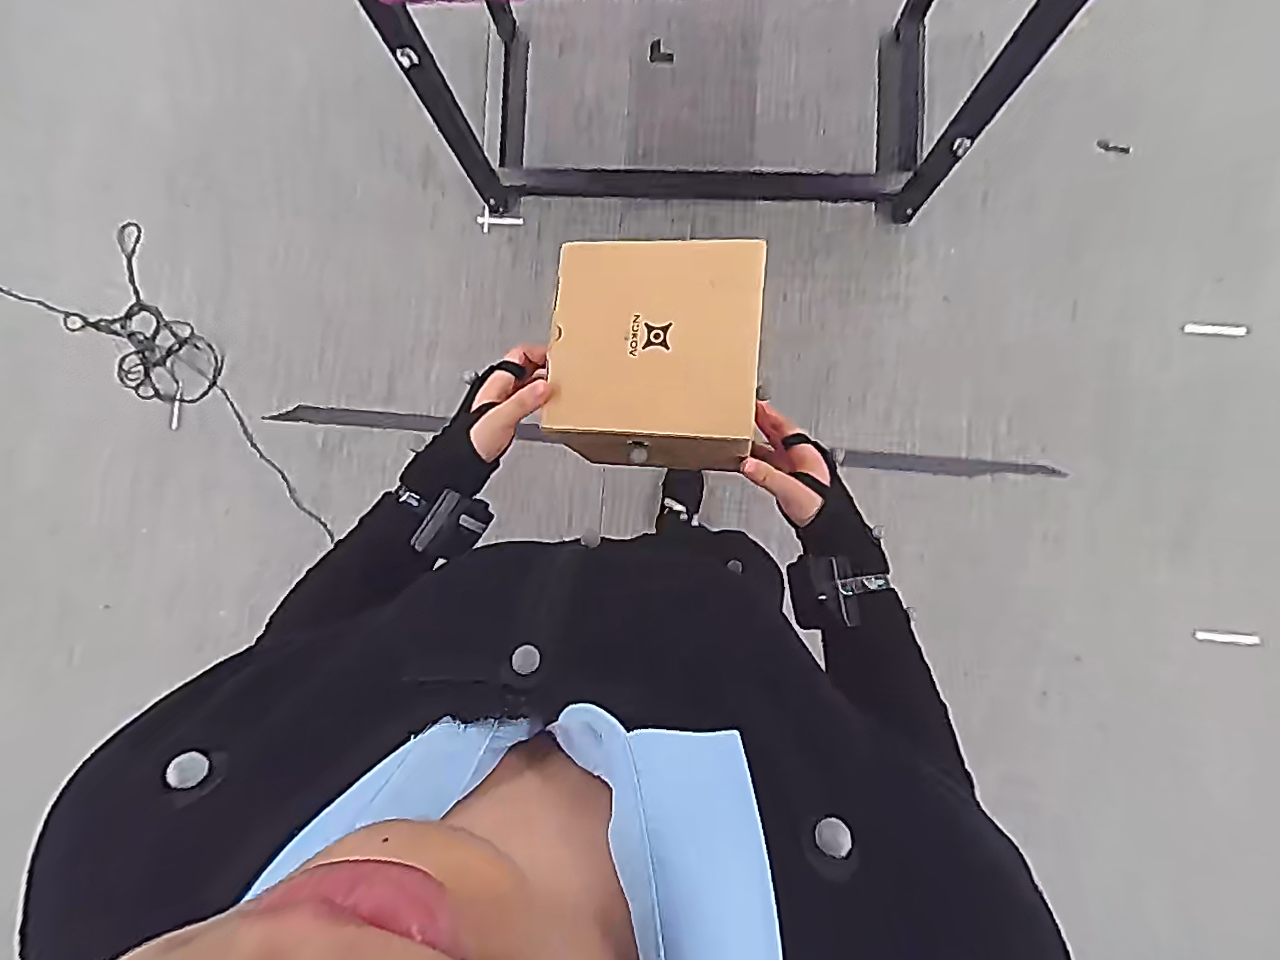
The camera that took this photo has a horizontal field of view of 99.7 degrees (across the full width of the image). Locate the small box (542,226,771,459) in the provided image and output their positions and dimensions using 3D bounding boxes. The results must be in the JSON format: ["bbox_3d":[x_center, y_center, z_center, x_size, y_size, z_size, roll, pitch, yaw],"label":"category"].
[{"bbox_3d":[0.025,-0.116,0.511,0.179,0.176,0.168,4,83,11],"label":"small box"}]
